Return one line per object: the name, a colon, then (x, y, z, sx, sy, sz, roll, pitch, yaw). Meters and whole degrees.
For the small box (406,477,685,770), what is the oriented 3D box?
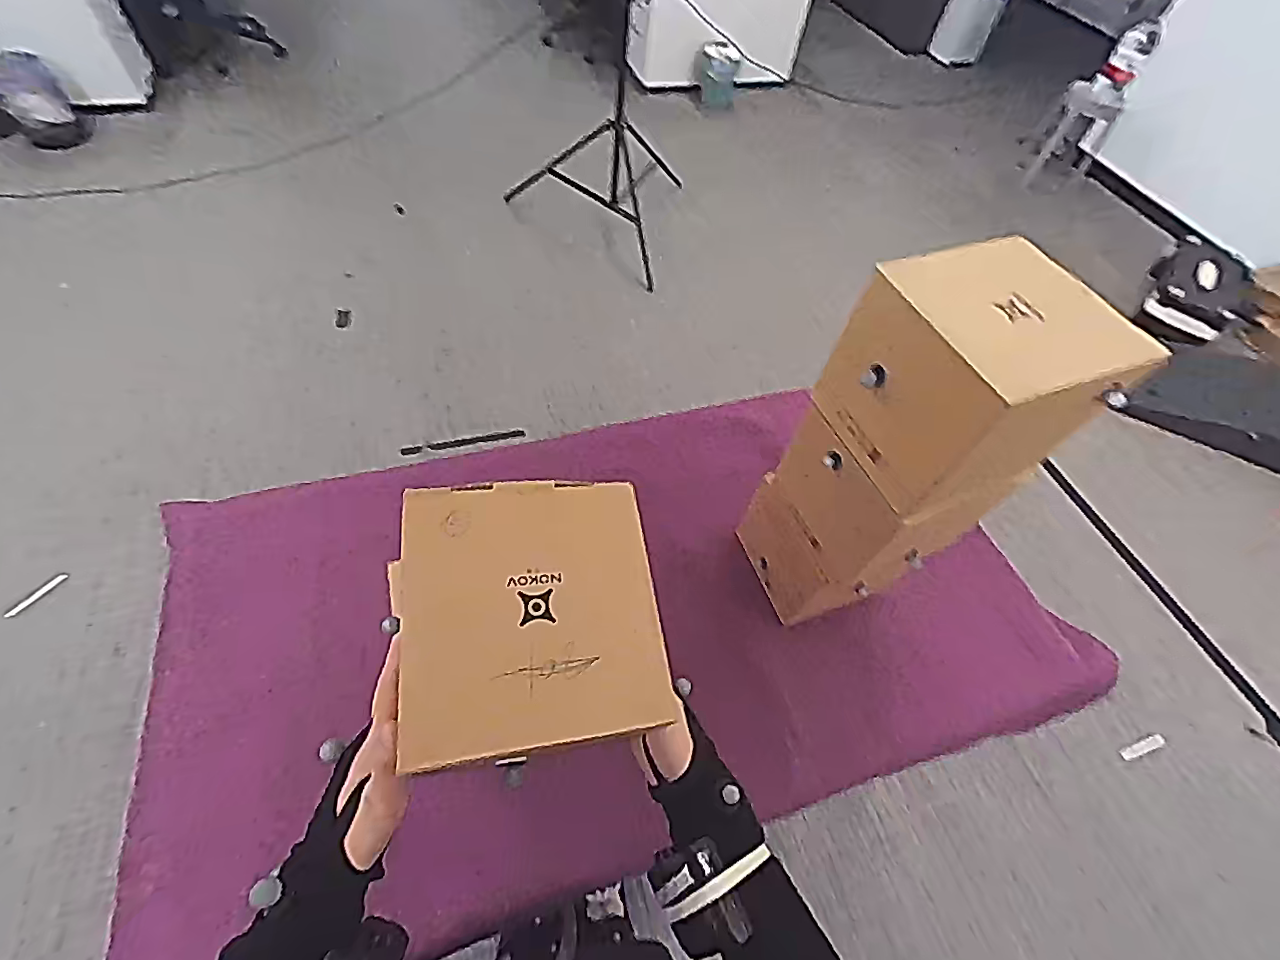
small box: (-0.084, 0.113, 0.419, 0.168, 0.176, 0.179, -1, 63, -18)

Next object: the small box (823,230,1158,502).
small box: (0.298, -0.102, 0.512, 0.179, 0.176, 0.168, -17, 60, -16)

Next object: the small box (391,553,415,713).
small box: (-0.189, 0.186, 0.660, 0.168, 0.176, 0.179, -13, 58, -15)

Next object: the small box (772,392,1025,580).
small box: (0.287, -0.006, 0.643, 0.179, 0.176, 0.168, -17, 60, -17)
